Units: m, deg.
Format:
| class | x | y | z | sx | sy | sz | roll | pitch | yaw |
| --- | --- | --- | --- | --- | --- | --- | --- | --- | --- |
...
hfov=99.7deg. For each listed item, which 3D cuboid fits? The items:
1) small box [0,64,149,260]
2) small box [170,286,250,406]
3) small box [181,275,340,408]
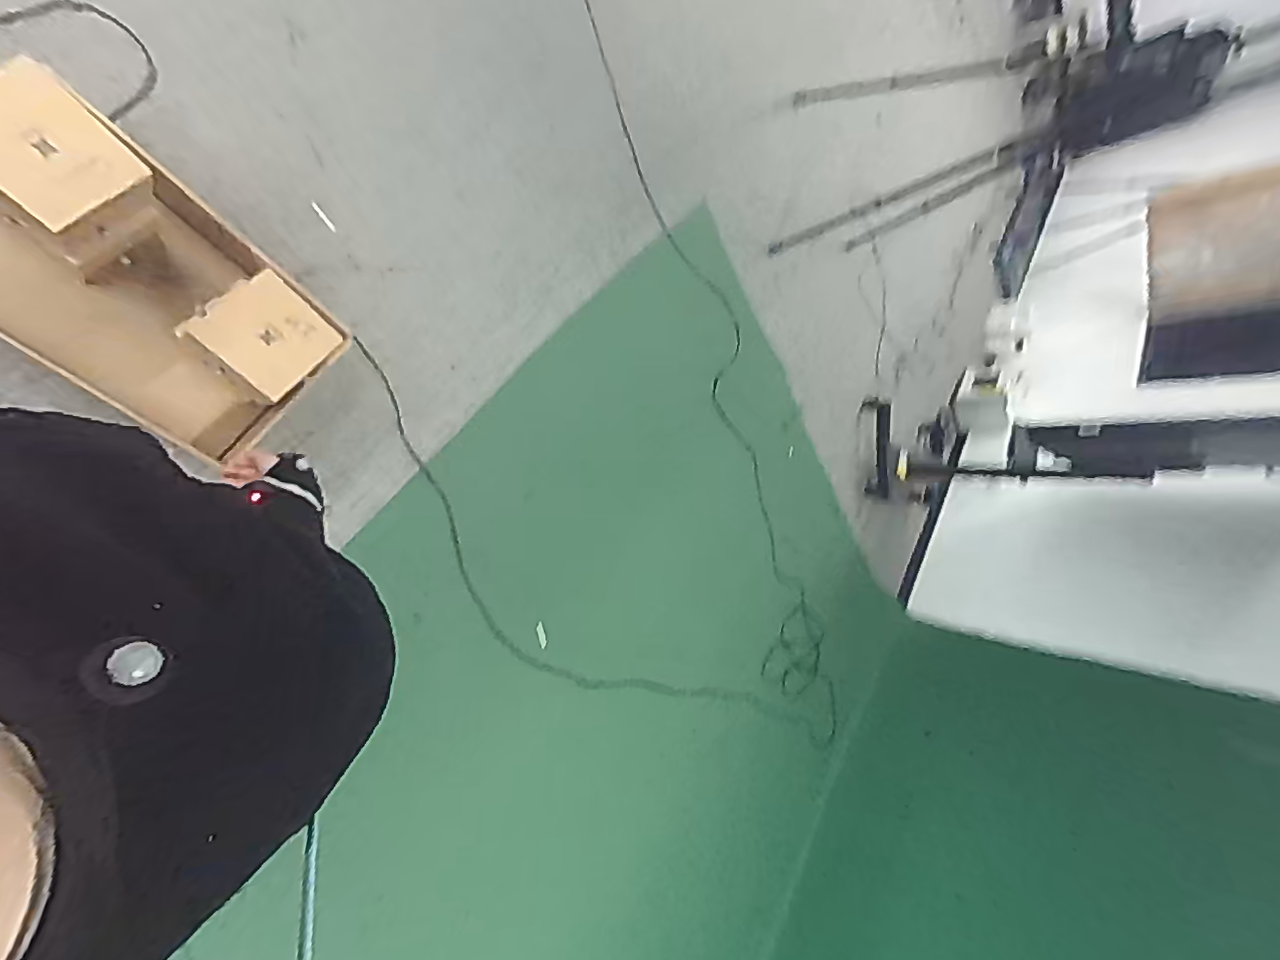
| class | x | y | z | sx | sy | sz | roll | pitch | yaw |
| --- | --- | --- | --- | --- | --- | --- | --- | --- | --- |
| small box | -0.905 | -0.467 | 0.820 | 0.168 | 0.176 | 0.179 | -55 | 127 | -24 |
| small box | -0.832 | -0.269 | 1.127 | 0.179 | 0.176 | 0.168 | 51 | 61 | -33 |
| small box | -0.712 | -0.249 | 1.014 | 0.168 | 0.176 | 0.179 | 52 | 59 | -34 |
